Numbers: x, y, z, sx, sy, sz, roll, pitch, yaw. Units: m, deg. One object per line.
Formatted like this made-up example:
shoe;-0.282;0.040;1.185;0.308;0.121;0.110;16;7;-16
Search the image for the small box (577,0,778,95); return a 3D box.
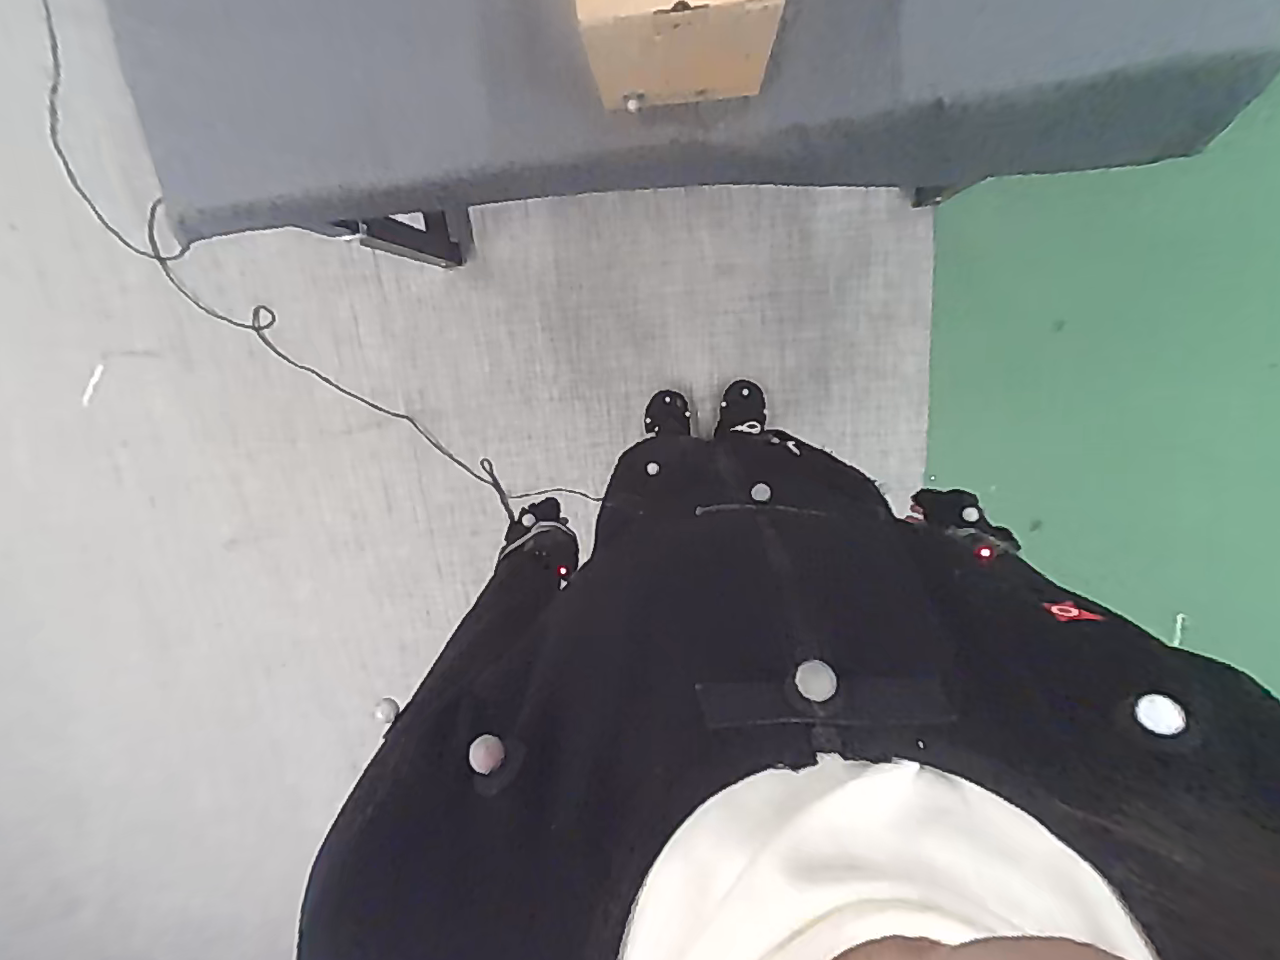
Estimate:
small box;0.034;-0.478;0.489;0.168;0.176;0.179;-1;104;4
